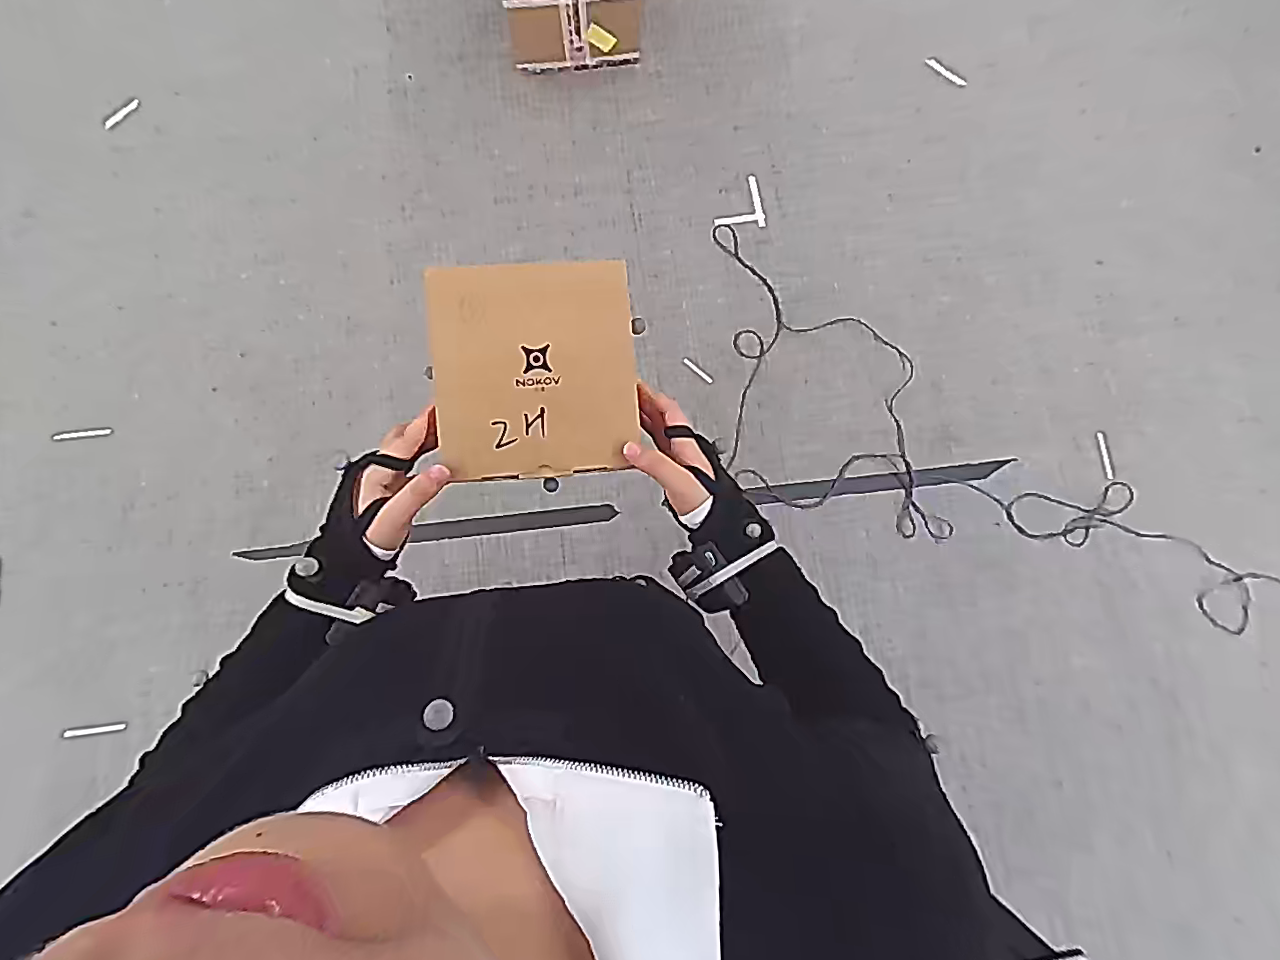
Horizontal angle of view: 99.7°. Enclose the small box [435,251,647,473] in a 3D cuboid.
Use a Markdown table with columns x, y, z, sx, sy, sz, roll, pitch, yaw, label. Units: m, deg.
| x | y | z | sx | sy | sz | roll | pitch | yaw | label |
| --- | --- | --- | --- | --- | --- | --- | --- | --- | --- |
| -0.090 | -0.100 | 0.526 | 0.168 | 0.176 | 0.179 | -5 | 91 | -6 | small box |
